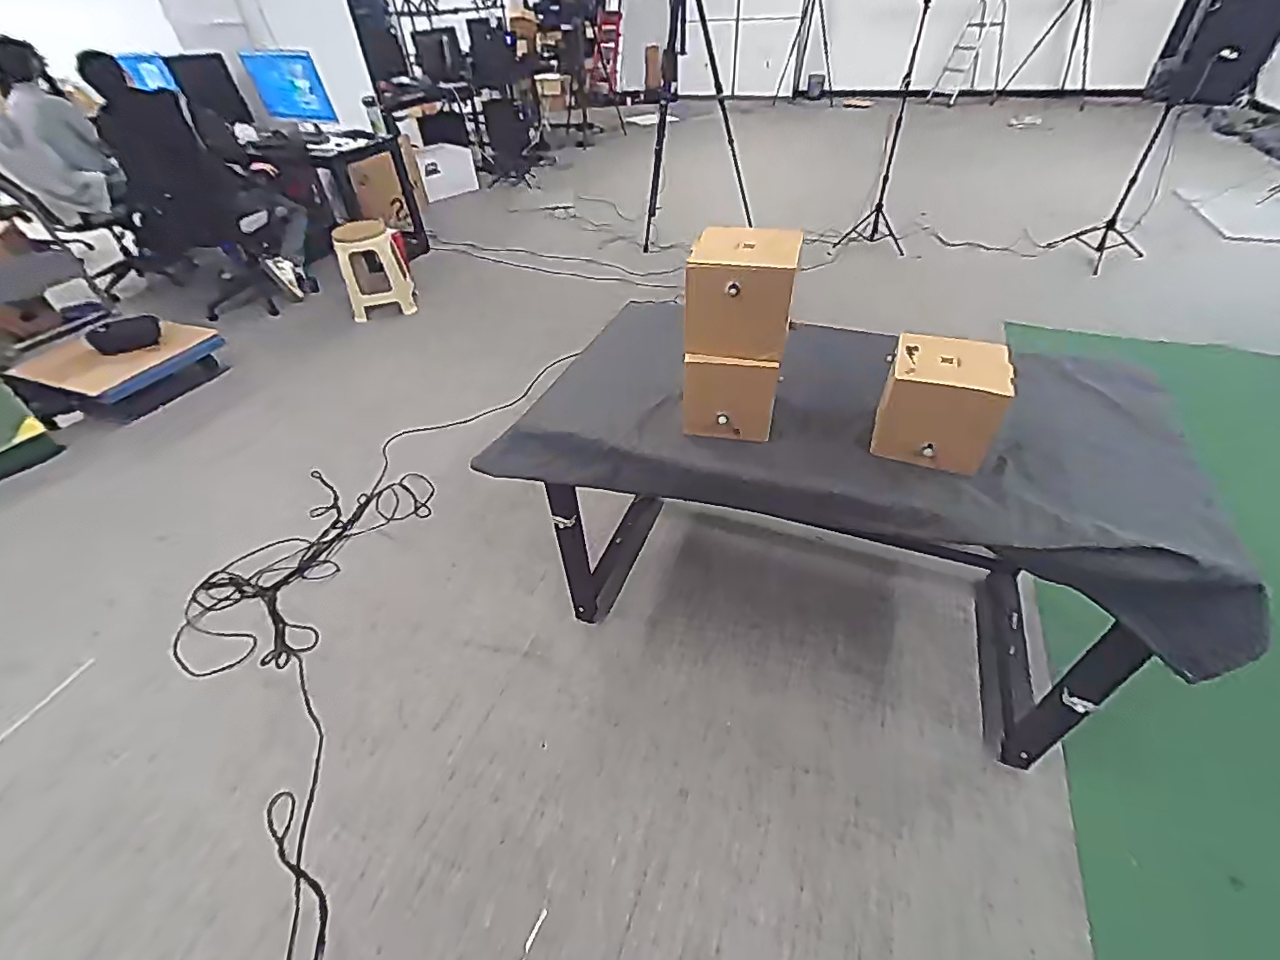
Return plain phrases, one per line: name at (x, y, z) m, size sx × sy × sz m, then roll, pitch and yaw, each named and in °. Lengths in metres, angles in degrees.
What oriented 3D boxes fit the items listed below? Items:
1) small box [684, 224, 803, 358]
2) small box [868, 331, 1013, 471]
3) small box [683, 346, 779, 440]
small box at (0.178, -0.330, 0.945) m, size 0.179 × 0.176 × 0.168 m, roll 10°, pitch 46°, yaw 13°
small box at (0.523, -0.139, 0.957) m, size 0.179 × 0.176 × 0.168 m, roll 15°, pitch 46°, yaw 18°
small box at (0.176, -0.201, 1.046) m, size 0.168 × 0.176 × 0.179 m, roll 6°, pitch 44°, yaw 11°
